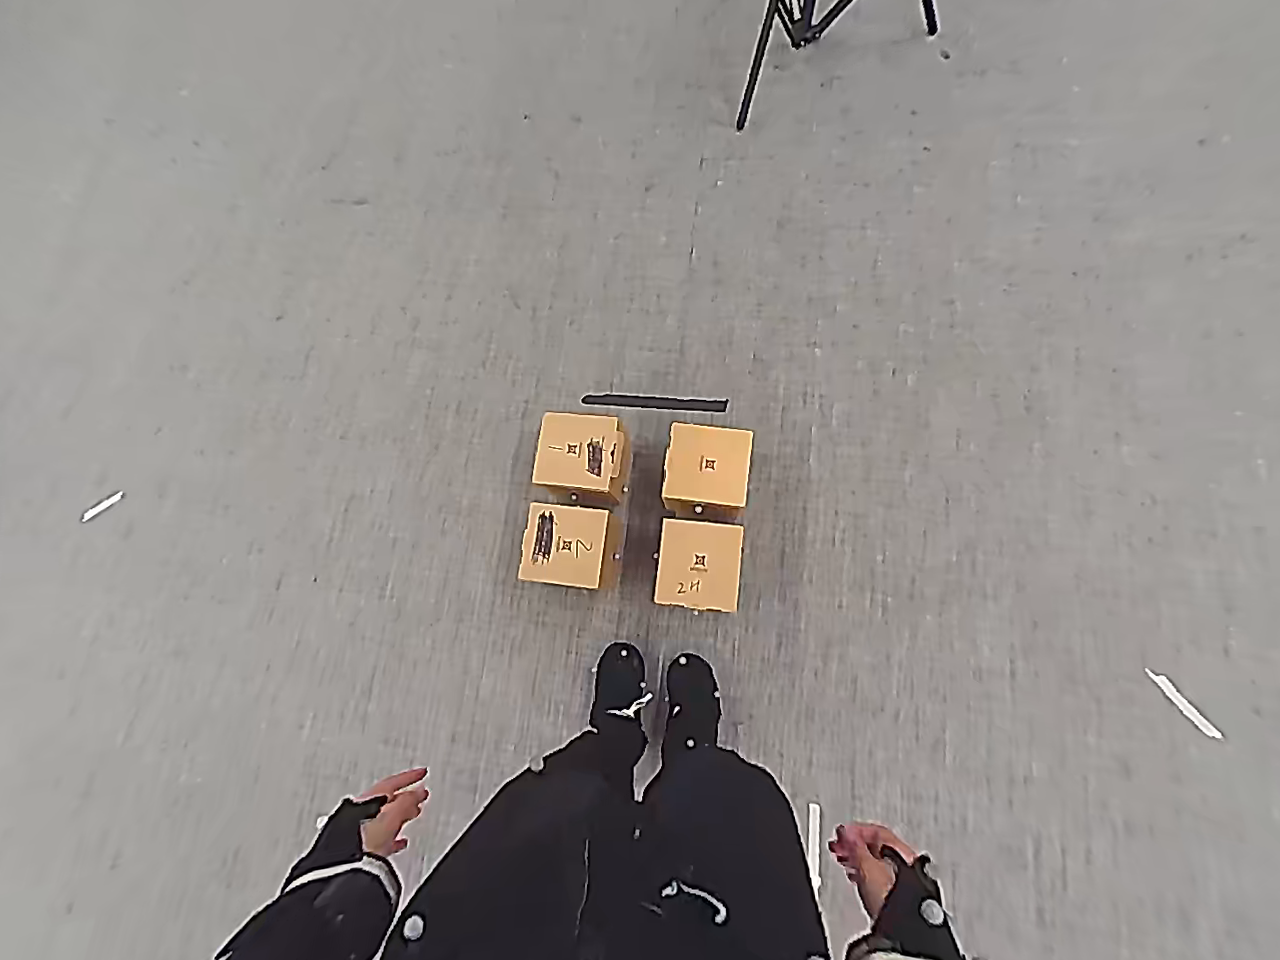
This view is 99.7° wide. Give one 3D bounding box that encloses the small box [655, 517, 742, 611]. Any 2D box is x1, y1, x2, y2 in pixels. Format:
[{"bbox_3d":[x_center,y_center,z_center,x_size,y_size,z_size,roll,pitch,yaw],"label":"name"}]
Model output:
[{"bbox_3d":[0.128,0.186,1.176,0.168,0.176,0.179,5,79,8],"label":"small box"}]
